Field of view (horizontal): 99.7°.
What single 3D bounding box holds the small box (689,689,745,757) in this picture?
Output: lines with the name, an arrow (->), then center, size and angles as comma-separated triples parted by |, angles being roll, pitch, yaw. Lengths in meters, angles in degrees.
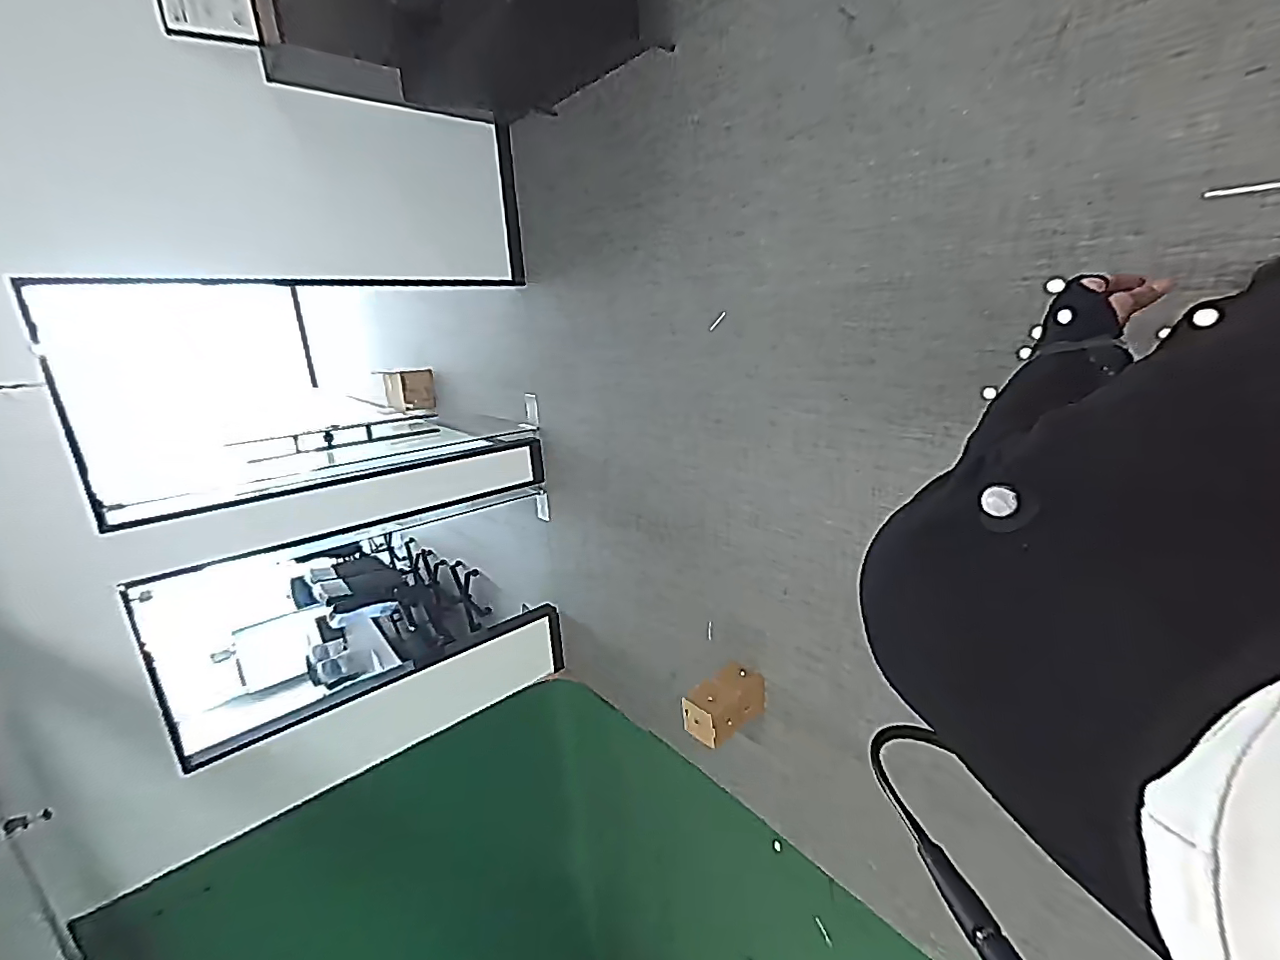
small box -> 0.330, 1.011, 2.271 | 0.179, 0.176, 0.168 | 11, 110, 49

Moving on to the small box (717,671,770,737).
small box -> 0.456, 0.974, 2.368 | 0.168, 0.176, 0.179 | 15, 113, 48
